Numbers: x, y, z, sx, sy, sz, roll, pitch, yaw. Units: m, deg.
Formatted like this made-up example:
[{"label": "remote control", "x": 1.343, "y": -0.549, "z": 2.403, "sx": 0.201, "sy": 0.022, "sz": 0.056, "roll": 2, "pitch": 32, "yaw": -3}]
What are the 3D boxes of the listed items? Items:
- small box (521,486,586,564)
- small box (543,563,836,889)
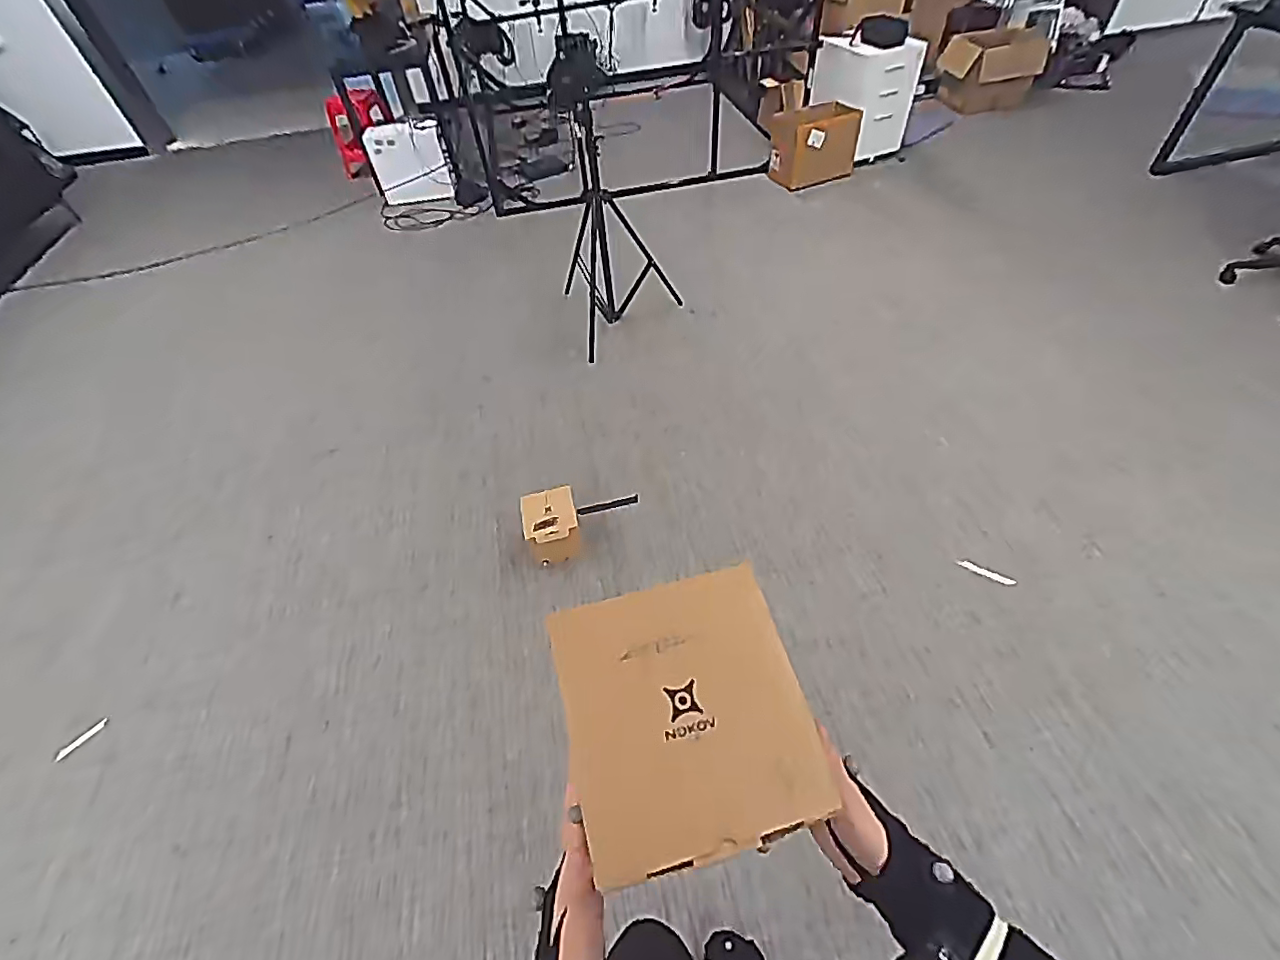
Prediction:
[{"label": "small box", "x": -0.276, "y": 0.153, "z": 1.739, "sx": 0.168, "sy": 0.176, "sz": 0.179, "roll": -13, "pitch": 50, "yaw": -6}, {"label": "small box", "x": 0.026, "y": 0.194, "z": 0.444, "sx": 0.168, "sy": 0.176, "sz": 0.179, "roll": -13, "pitch": 61, "yaw": -10}]
